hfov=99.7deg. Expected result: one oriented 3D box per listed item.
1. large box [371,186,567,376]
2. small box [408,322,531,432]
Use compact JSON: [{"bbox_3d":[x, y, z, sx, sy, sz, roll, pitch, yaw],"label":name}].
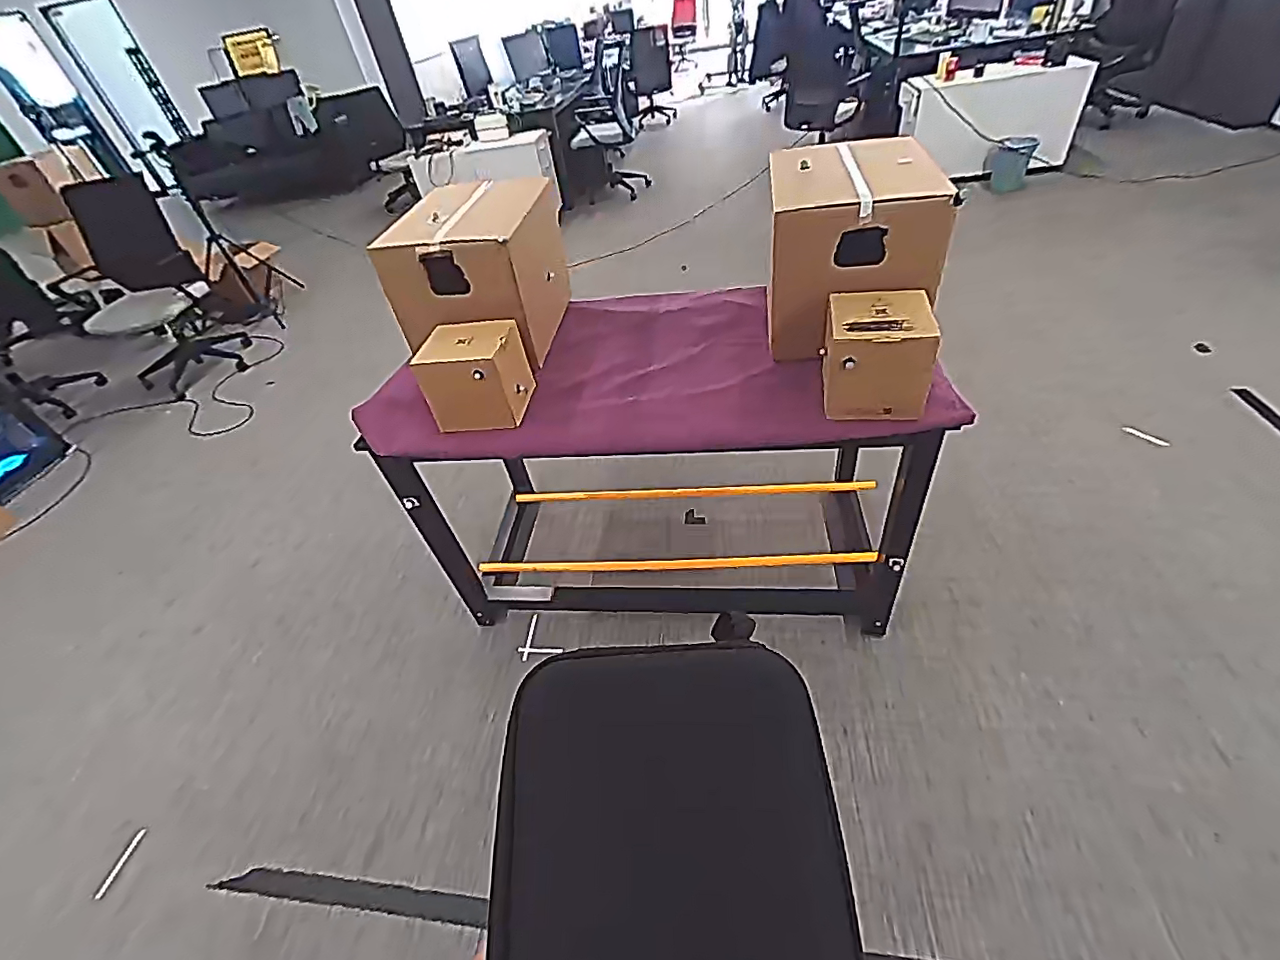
[{"bbox_3d":[-0.385,-0.495,1.349,0.320,0.320,0.408,-1,45,8],"label":"large box"},{"bbox_3d":[-0.350,-0.214,1.145,0.179,0.176,0.168,-3,42,7],"label":"small box"}]
